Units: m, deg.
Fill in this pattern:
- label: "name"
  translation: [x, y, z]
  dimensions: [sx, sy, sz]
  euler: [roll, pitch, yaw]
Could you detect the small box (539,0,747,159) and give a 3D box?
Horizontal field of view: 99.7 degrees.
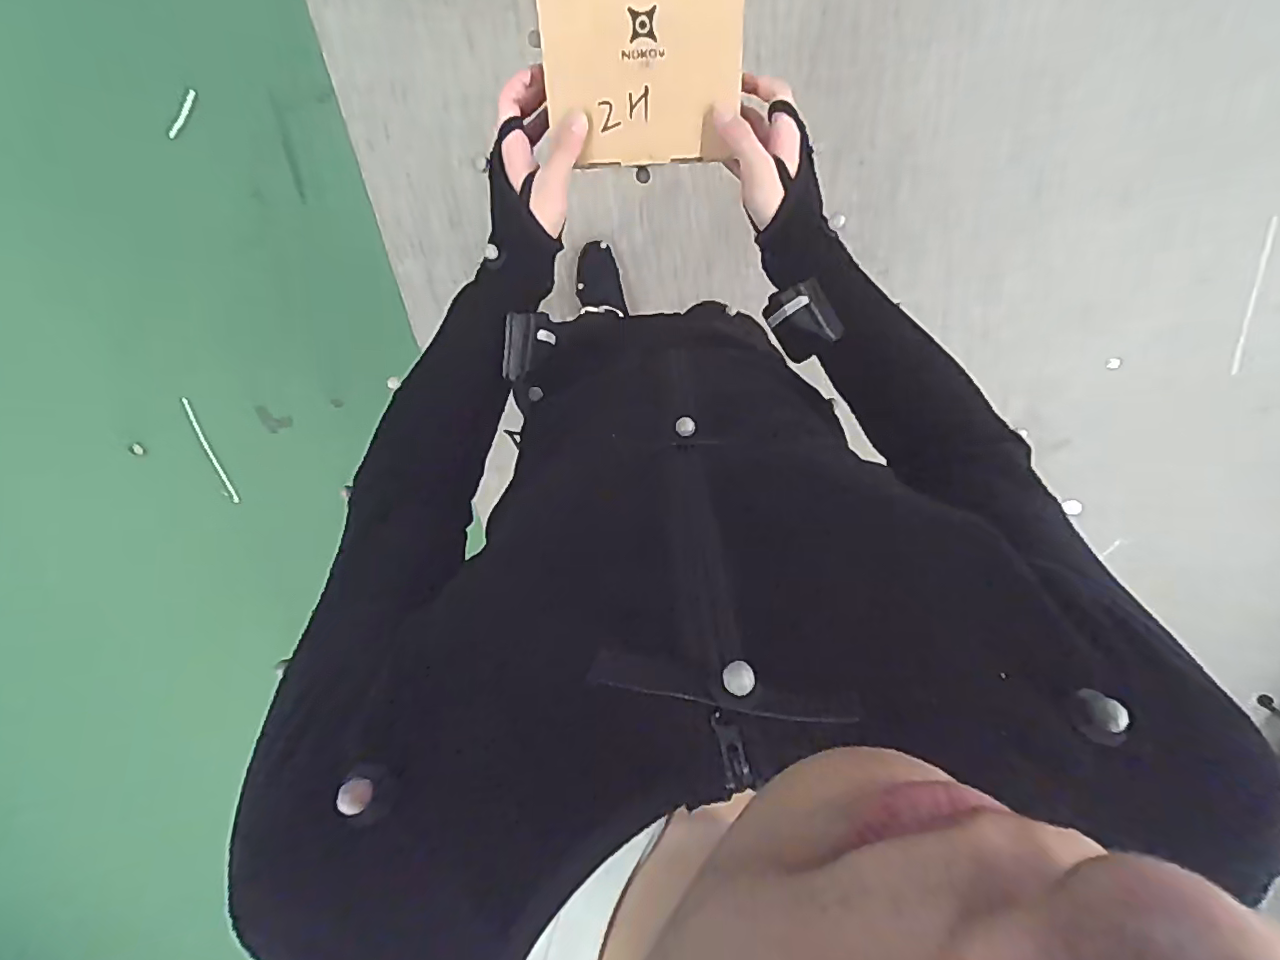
- label: "small box"
  translation: [0.001, -0.401, 0.495]
  dimensions: [0.168, 0.176, 0.179]
  euler: [-2, 119, 1]
